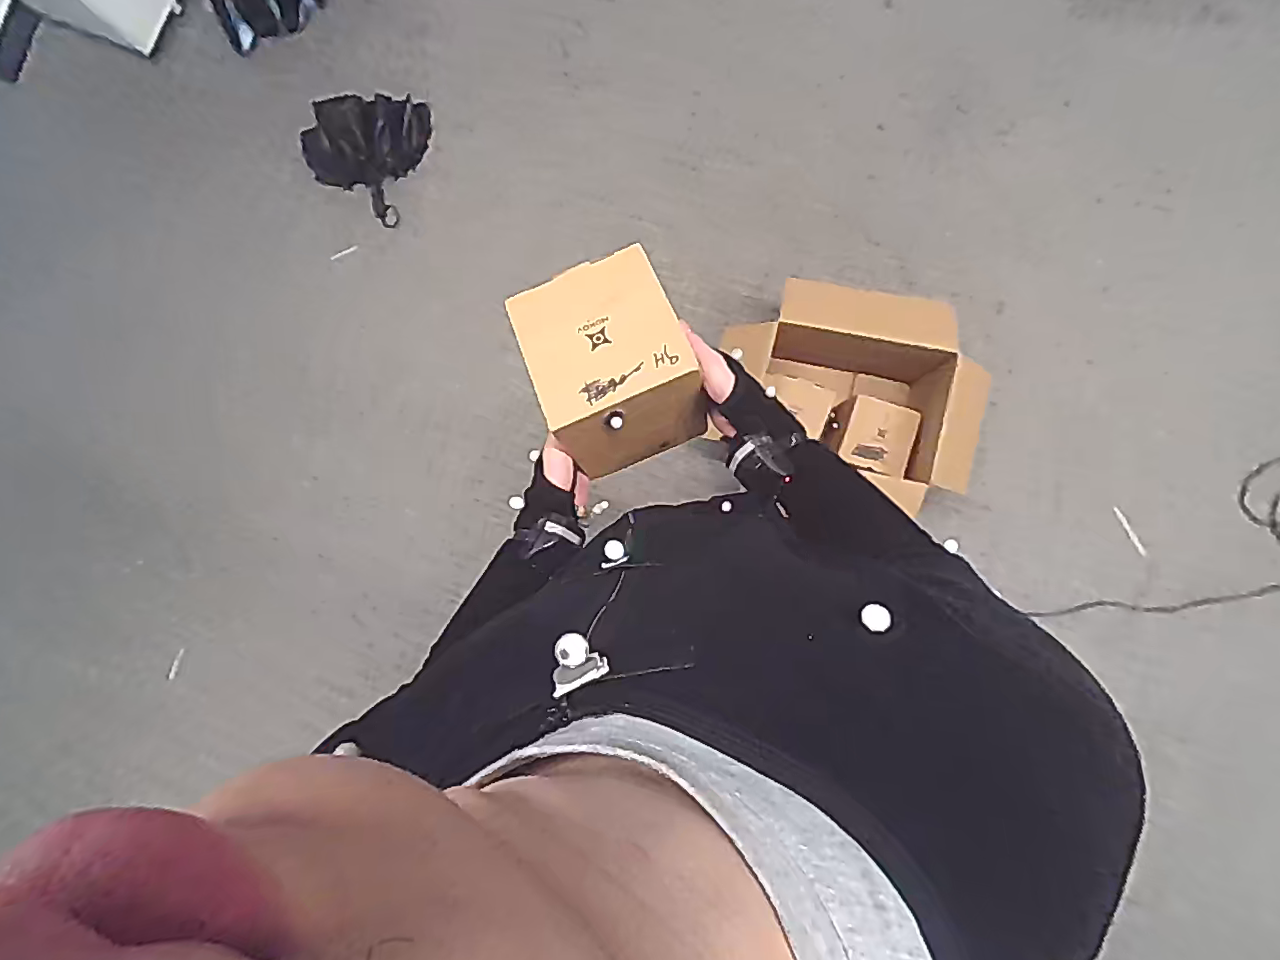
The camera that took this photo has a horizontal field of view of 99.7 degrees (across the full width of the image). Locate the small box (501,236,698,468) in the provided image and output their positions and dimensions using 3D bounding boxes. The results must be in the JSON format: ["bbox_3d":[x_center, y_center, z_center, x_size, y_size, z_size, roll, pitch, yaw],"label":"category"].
[{"bbox_3d":[-0.039,-0.140,0.642,0.168,0.176,0.179,-23,71,3],"label":"small box"}]
